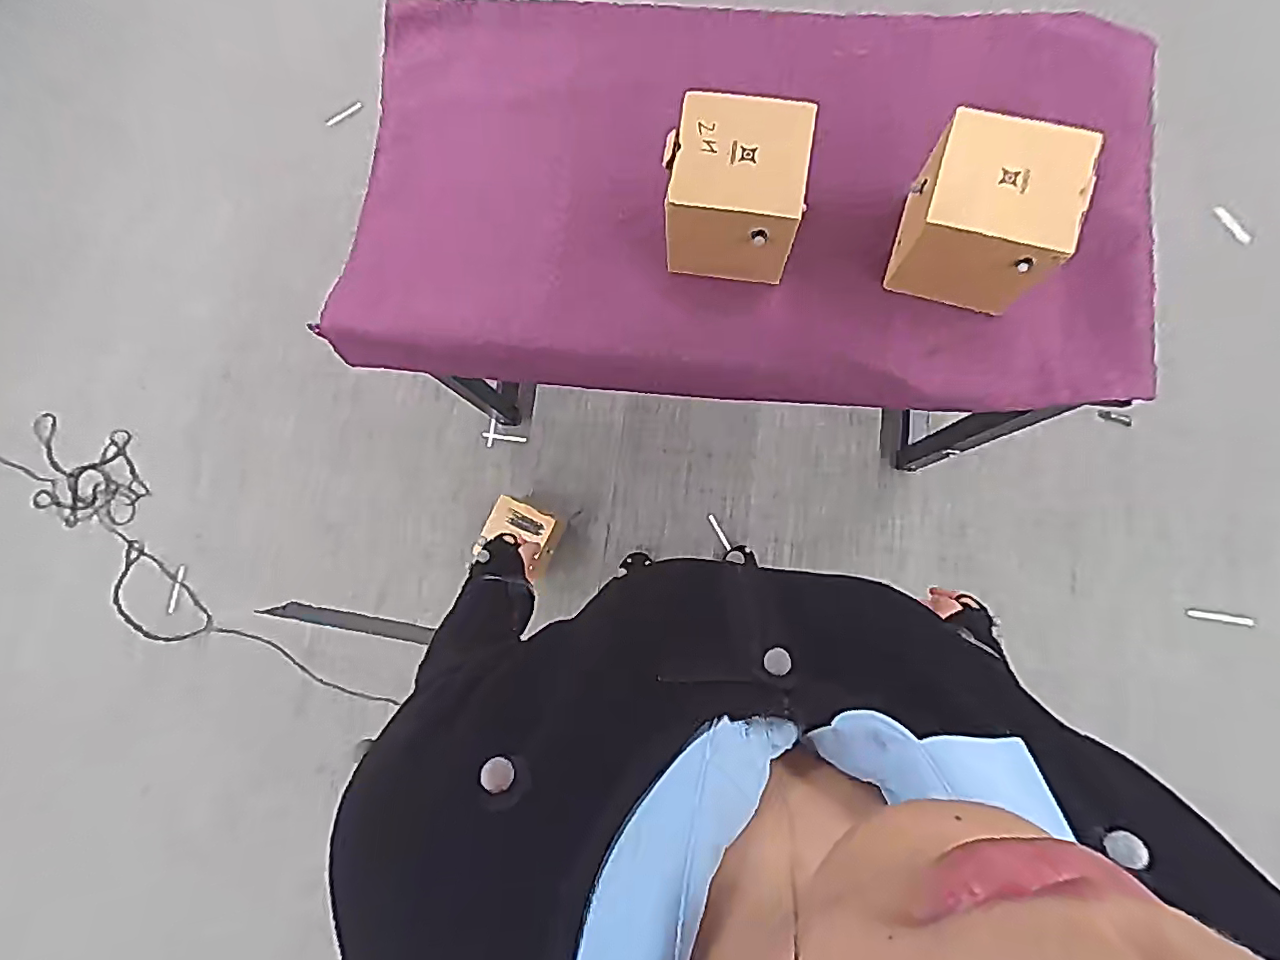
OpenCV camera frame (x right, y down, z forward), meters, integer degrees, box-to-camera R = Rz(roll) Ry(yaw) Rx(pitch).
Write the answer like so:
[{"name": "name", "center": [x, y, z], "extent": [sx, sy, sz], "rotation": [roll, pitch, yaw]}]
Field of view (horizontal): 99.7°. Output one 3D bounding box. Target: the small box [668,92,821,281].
[{"name": "small box", "center": [0.141, -0.406, 0.774], "extent": [0.179, 0.176, 0.168], "rotation": [9, 82, 6]}]

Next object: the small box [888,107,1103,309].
[{"name": "small box", "center": [0.466, -0.357, 0.738], "extent": [0.179, 0.176, 0.168], "rotation": [17, 84, 8]}]
